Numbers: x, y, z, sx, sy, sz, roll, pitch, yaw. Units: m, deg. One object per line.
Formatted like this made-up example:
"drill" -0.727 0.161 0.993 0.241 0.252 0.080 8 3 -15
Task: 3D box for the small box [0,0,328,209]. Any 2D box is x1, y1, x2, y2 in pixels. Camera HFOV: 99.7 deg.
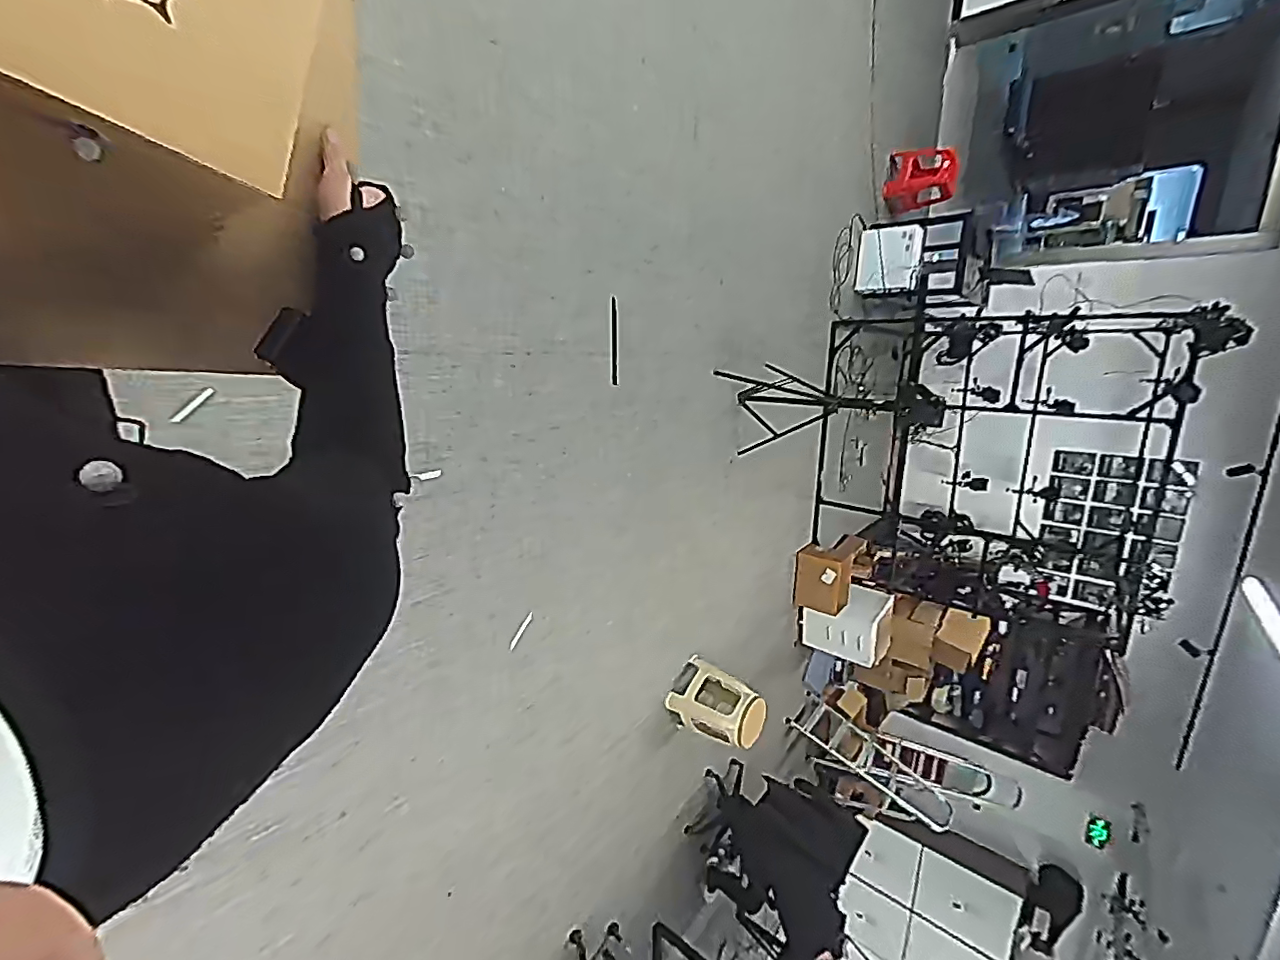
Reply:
"small box" -0.354 -0.312 0.377 0.179 0.176 0.168 11 93 -49
